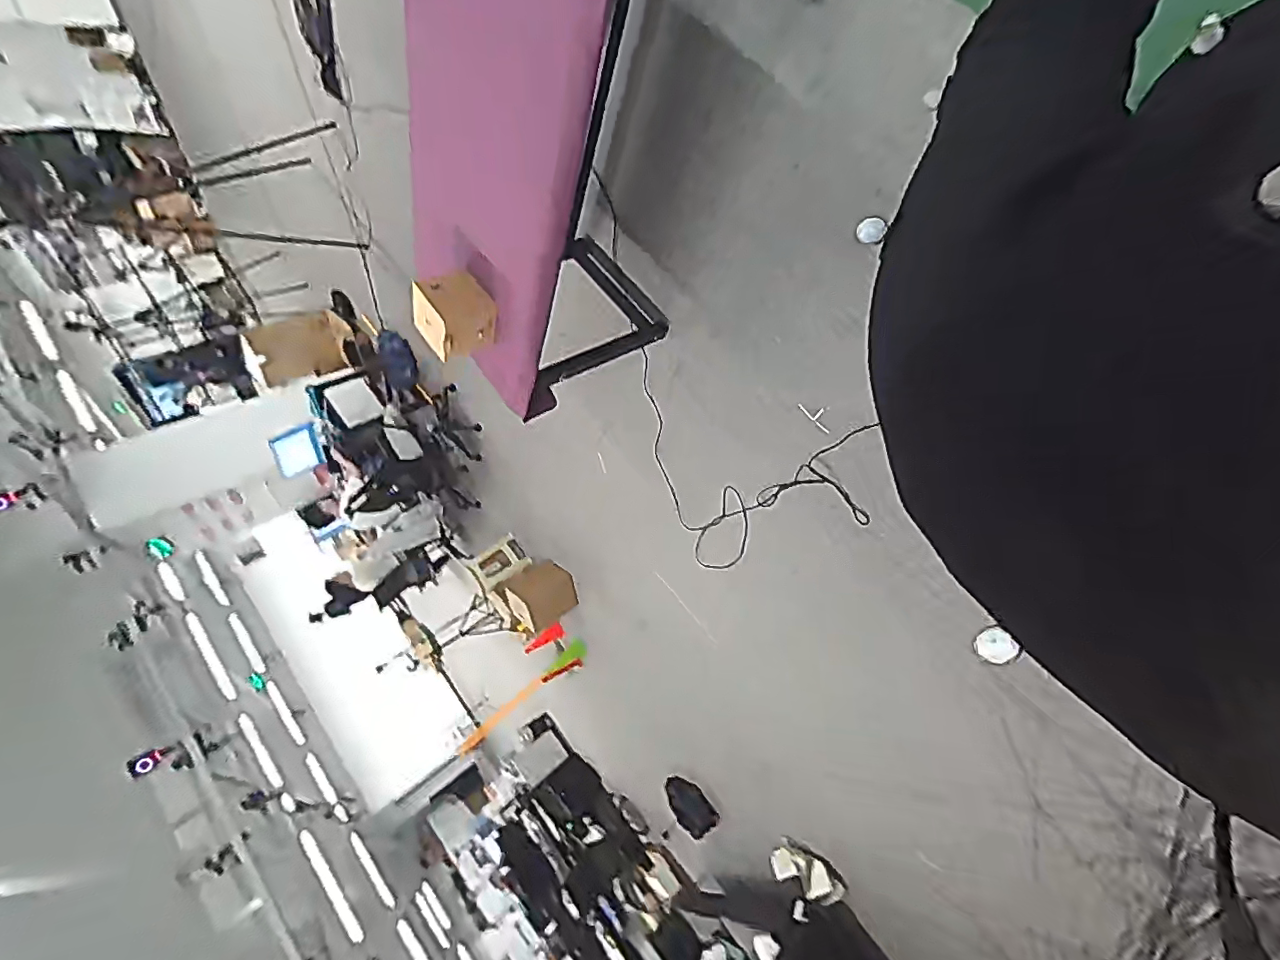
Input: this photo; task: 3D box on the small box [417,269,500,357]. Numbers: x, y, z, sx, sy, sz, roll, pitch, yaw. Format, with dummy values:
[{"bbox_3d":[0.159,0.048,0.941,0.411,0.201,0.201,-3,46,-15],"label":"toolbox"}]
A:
[{"bbox_3d":[-0.537,-0.499,1.596,0.179,0.176,0.168,51,147,13],"label":"small box"}]
